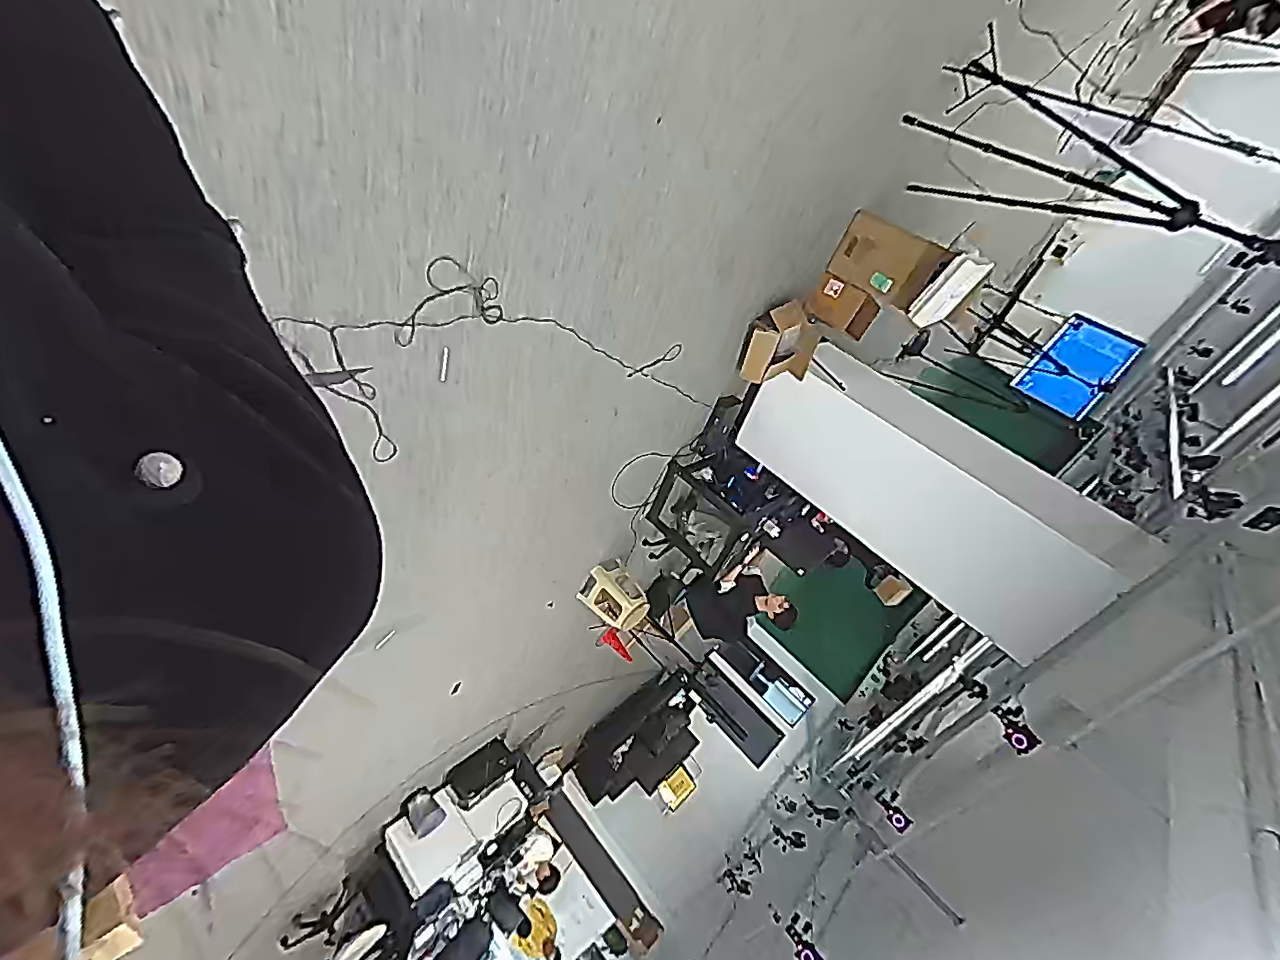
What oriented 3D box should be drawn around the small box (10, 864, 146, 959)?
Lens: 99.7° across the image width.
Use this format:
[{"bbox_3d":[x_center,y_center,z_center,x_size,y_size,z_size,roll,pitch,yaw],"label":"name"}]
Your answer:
[{"bbox_3d":[-1.273,1.023,1.228,0.168,0.176,0.179,-22,145,-43],"label":"small box"}]
